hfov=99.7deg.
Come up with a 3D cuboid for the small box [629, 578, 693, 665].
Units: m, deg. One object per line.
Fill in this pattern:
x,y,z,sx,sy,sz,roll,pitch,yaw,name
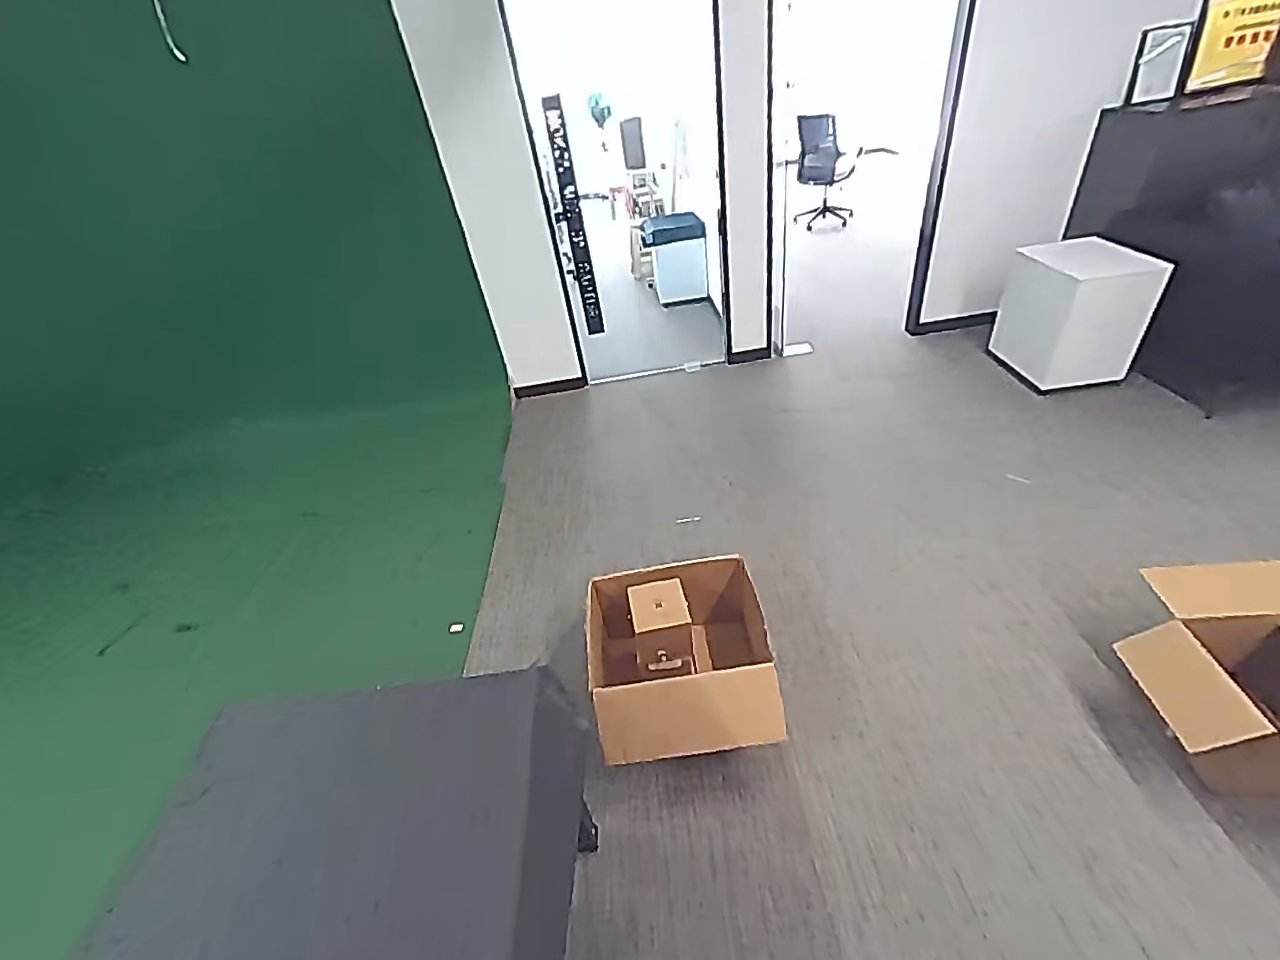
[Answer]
0.062,0.427,1.633,0.168,0.176,0.179,-10,38,-5,small box
